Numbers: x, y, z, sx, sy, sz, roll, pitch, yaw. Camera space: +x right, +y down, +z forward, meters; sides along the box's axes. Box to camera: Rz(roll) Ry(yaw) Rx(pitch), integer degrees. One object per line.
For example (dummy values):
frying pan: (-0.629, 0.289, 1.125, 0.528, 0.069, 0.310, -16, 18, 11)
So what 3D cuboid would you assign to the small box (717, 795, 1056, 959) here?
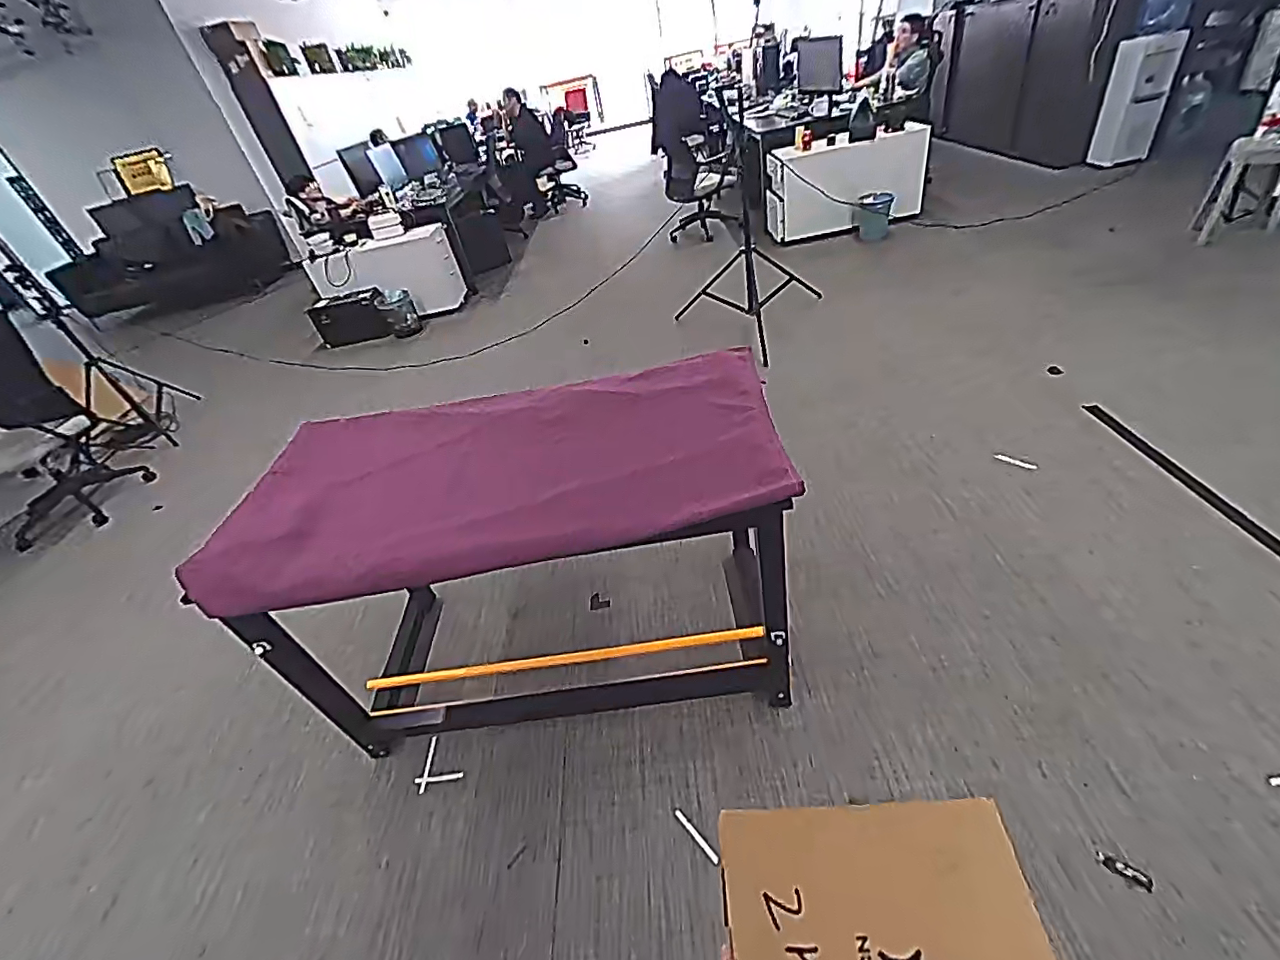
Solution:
small box: (0.151, 0.319, 0.353, 0.179, 0.176, 0.168, -9, 46, 10)
